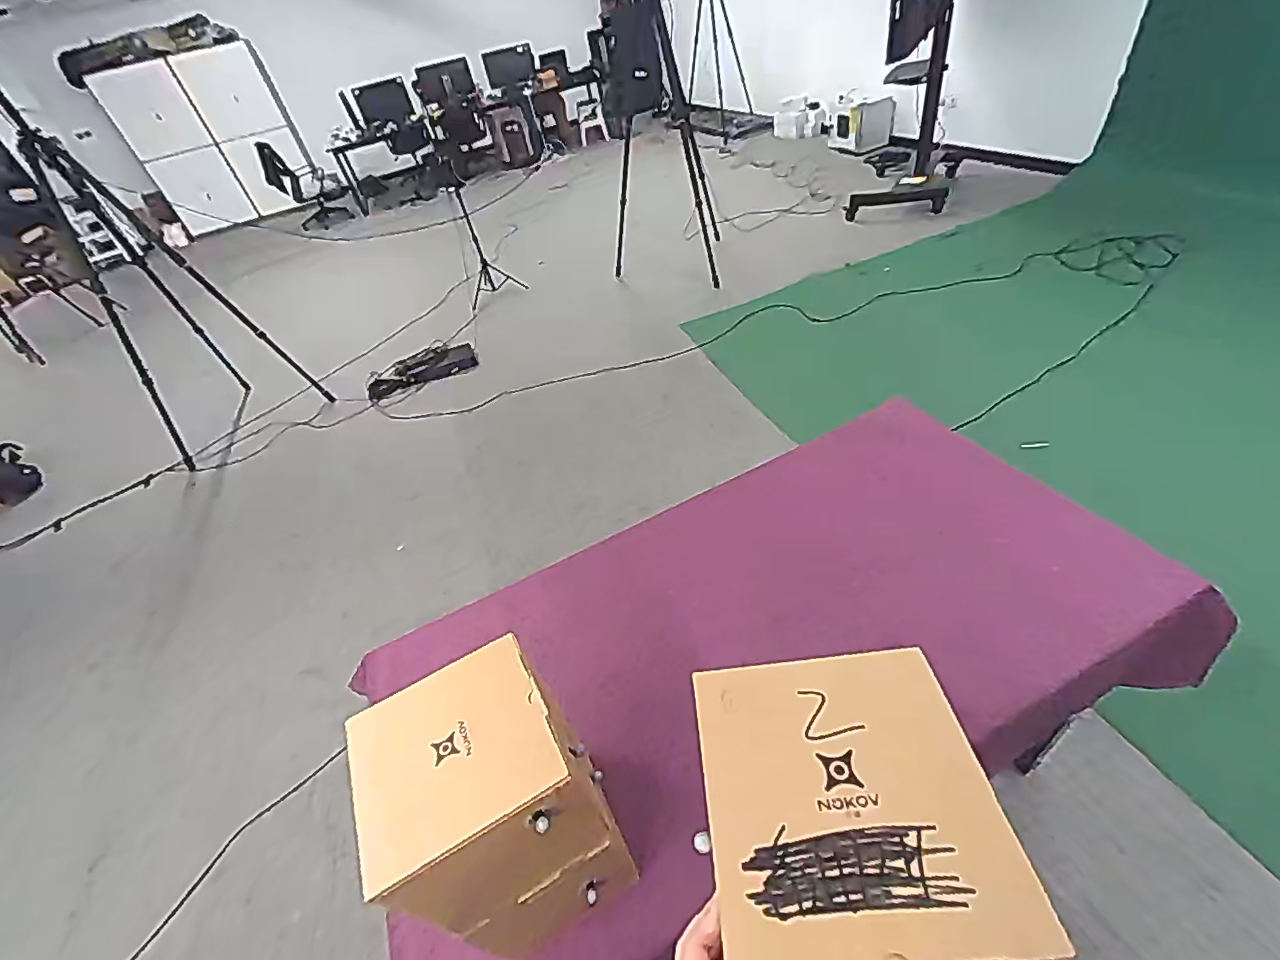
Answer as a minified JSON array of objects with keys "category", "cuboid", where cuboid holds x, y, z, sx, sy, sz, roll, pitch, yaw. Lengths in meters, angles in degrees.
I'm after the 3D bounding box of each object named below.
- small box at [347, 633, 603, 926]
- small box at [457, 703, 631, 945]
[{"category":"small box","cuboid":[-0.158,0.296,0.539,0.179,0.176,0.168,-26,44,-15]},{"category":"small box","cuboid":[-0.126,0.413,0.648,0.168,0.176,0.179,-25,43,-14]}]
